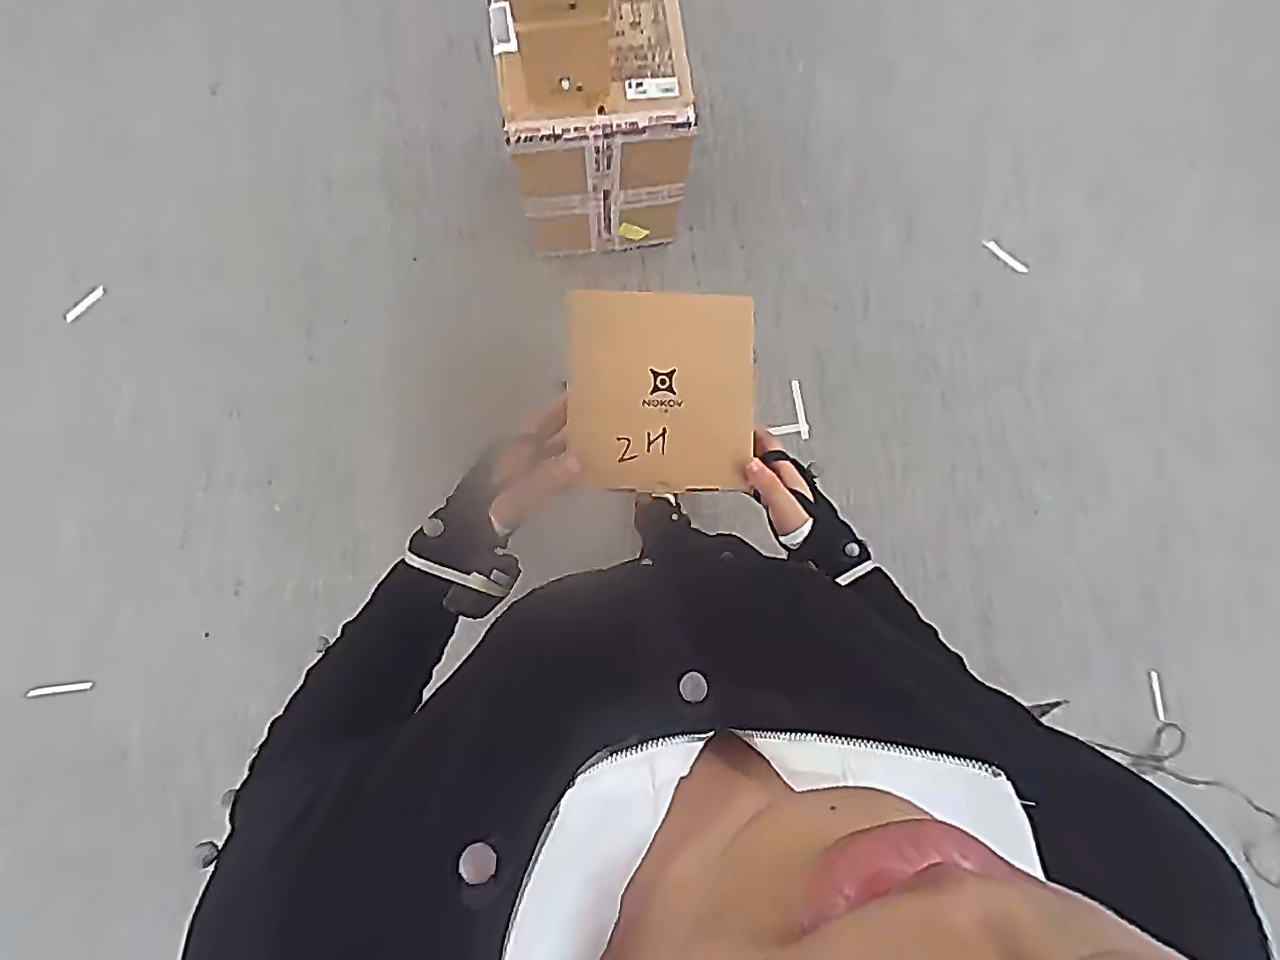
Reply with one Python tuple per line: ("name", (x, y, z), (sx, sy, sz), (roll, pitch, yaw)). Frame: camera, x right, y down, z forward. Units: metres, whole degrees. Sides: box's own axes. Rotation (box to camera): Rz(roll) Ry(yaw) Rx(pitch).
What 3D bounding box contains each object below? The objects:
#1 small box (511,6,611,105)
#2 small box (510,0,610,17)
("small box", (-0.146, -0.838, 0.993), (0.168, 0.176, 0.179), (-9, 89, -3))
("small box", (-0.137, -0.858, 0.831), (0.168, 0.176, 0.179), (-7, 88, -3))
